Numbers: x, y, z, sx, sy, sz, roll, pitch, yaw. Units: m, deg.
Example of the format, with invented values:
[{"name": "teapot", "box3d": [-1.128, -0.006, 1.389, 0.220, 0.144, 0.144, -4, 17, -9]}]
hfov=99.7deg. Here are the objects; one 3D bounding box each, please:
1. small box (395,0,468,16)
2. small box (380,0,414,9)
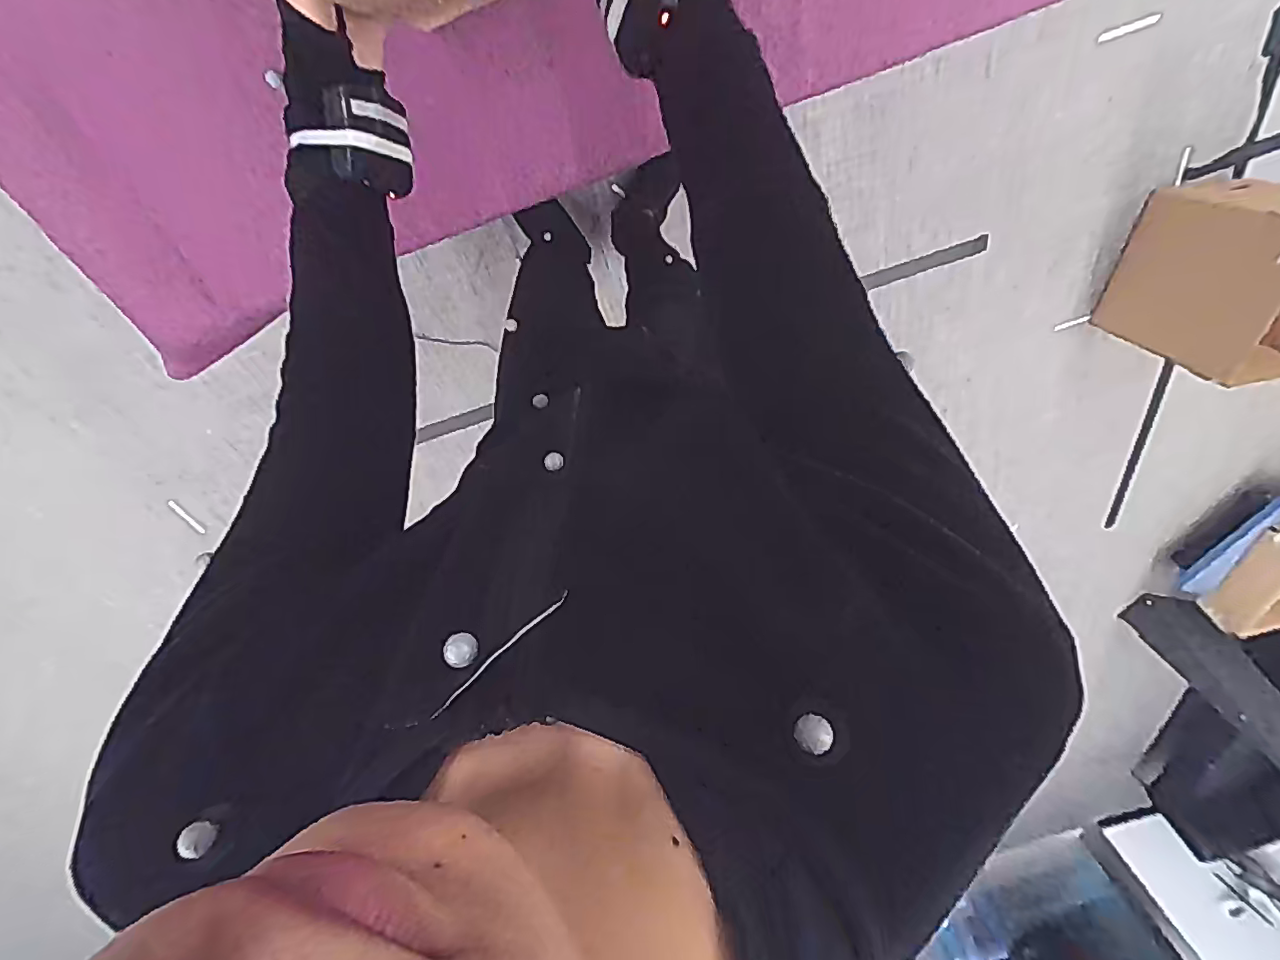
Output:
[{"name": "small box", "box3d": [-0.158, -0.506, 0.427, 0.168, 0.176, 0.179, -22, 128, 4]}, {"name": "small box", "box3d": [-0.140, -0.404, 0.299, 0.168, 0.176, 0.179, -20, 128, 3]}]
